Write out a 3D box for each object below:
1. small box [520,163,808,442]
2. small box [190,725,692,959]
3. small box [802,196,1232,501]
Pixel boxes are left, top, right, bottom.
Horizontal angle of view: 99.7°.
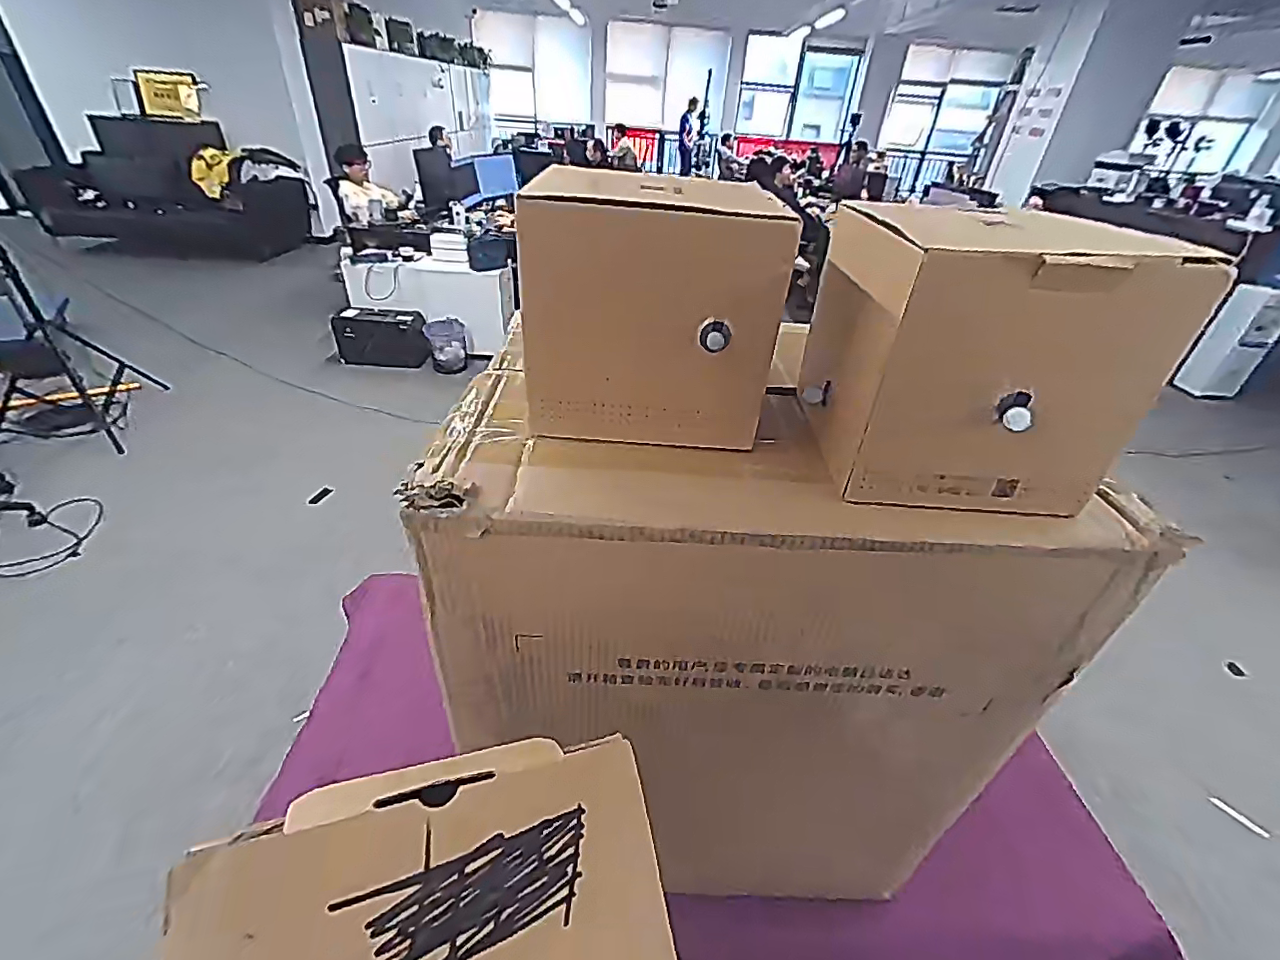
[{"bbox_3d":[0.010,-0.142,0.431,0.179,0.176,0.168,3,34,-2],"label":"small box"},{"bbox_3d":[-0.083,0.230,0.240,0.168,0.176,0.179,-2,60,-25],"label":"small box"},{"bbox_3d":[0.230,-0.100,0.396,0.168,0.176,0.179,3,35,0],"label":"small box"}]
